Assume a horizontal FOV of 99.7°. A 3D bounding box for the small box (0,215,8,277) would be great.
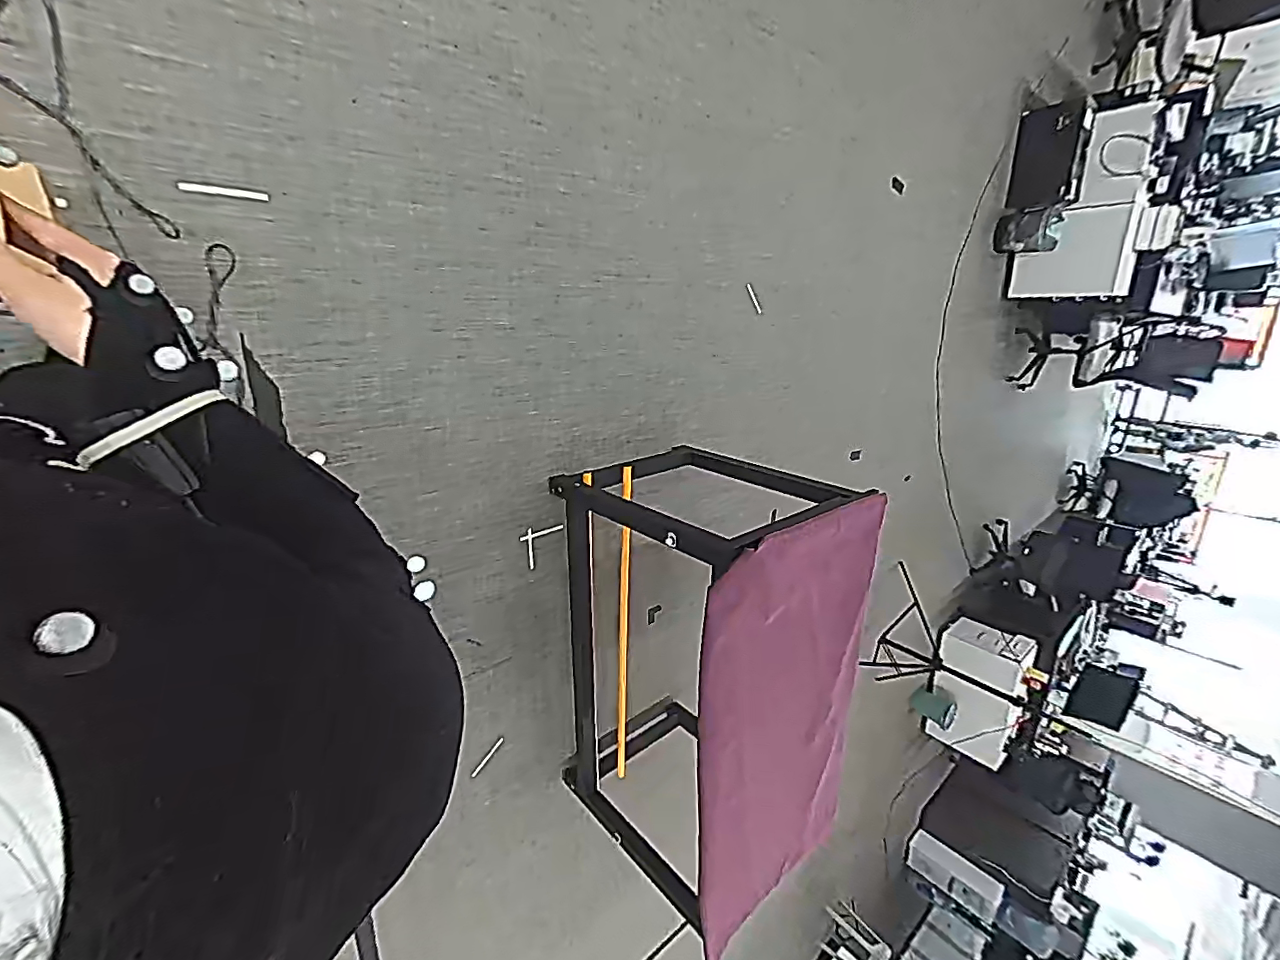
[{"bbox_3d":[-0.477,-0.208,0.288,0.168,0.176,0.179,-12,110,-50],"label":"small box"}]
